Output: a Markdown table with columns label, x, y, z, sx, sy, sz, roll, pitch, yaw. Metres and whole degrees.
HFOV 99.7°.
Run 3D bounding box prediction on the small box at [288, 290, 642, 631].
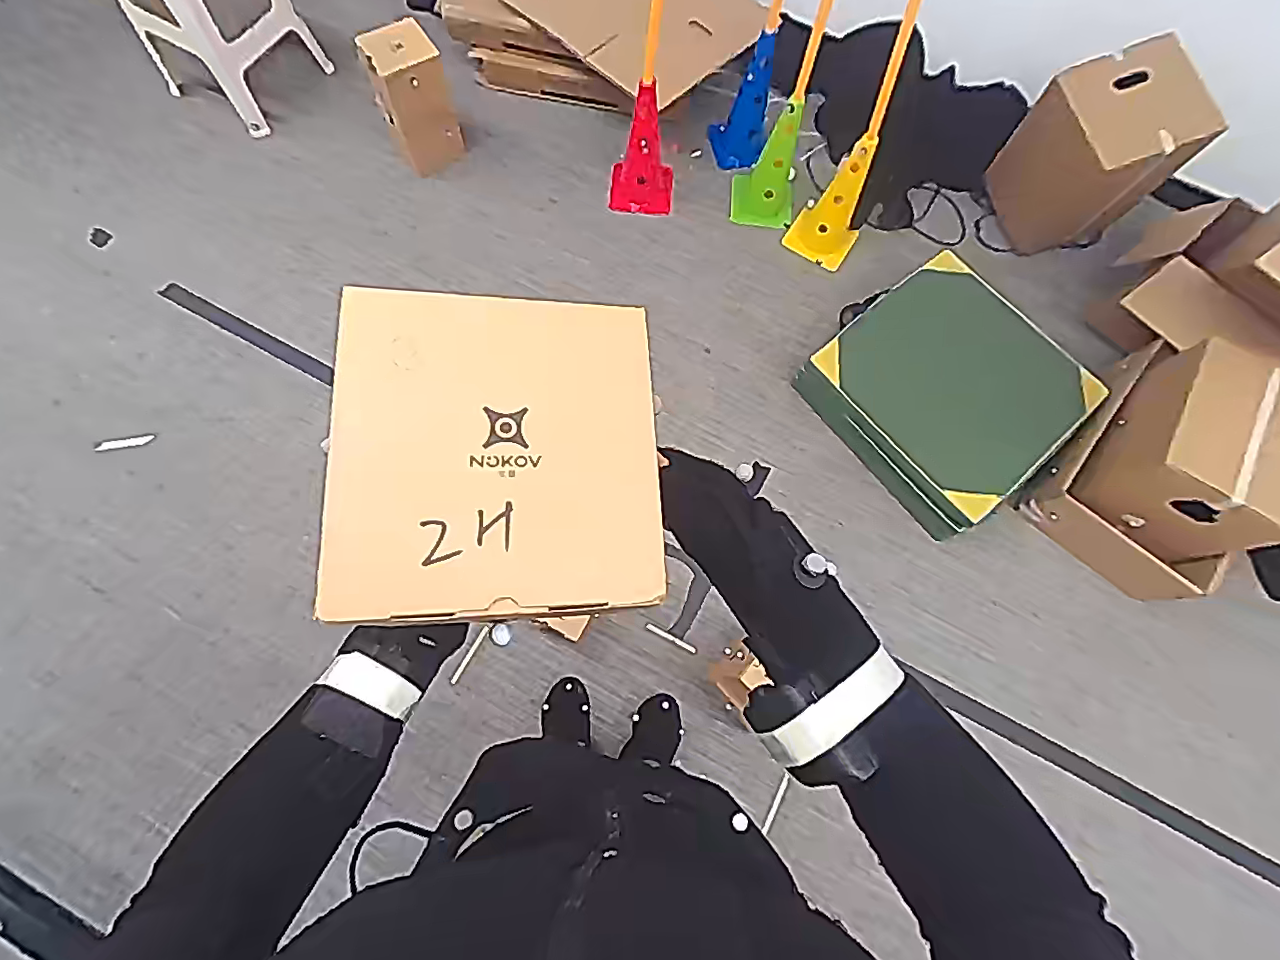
| label | x | y | z | sx | sy | sz | roll | pitch | yaw |
| --- | --- | --- | --- | --- | --- | --- | --- | --- | --- |
| small box | -0.097 | 0.006 | 0.358 | 0.168 | 0.176 | 0.179 | 3 | 77 | -11 |

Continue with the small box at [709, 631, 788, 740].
| label | x | y | z | sx | sy | sz | roll | pitch | yaw |
| --- | --- | --- | --- | --- | --- | --- | --- | --- | --- |
| small box | 0.282 | 0.468 | 1.258 | 0.179 | 0.176 | 0.168 | 44 | 75 | 9 |

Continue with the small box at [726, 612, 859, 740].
| label | x | y | z | sx | sy | sz | roll | pitch | yaw |
| --- | --- | --- | --- | --- | --- | --- | --- | --- | --- |
| small box | 0.301 | 0.395 | 1.109 | 0.179 | 0.176 | 0.168 | 42 | 76 | 8 |
